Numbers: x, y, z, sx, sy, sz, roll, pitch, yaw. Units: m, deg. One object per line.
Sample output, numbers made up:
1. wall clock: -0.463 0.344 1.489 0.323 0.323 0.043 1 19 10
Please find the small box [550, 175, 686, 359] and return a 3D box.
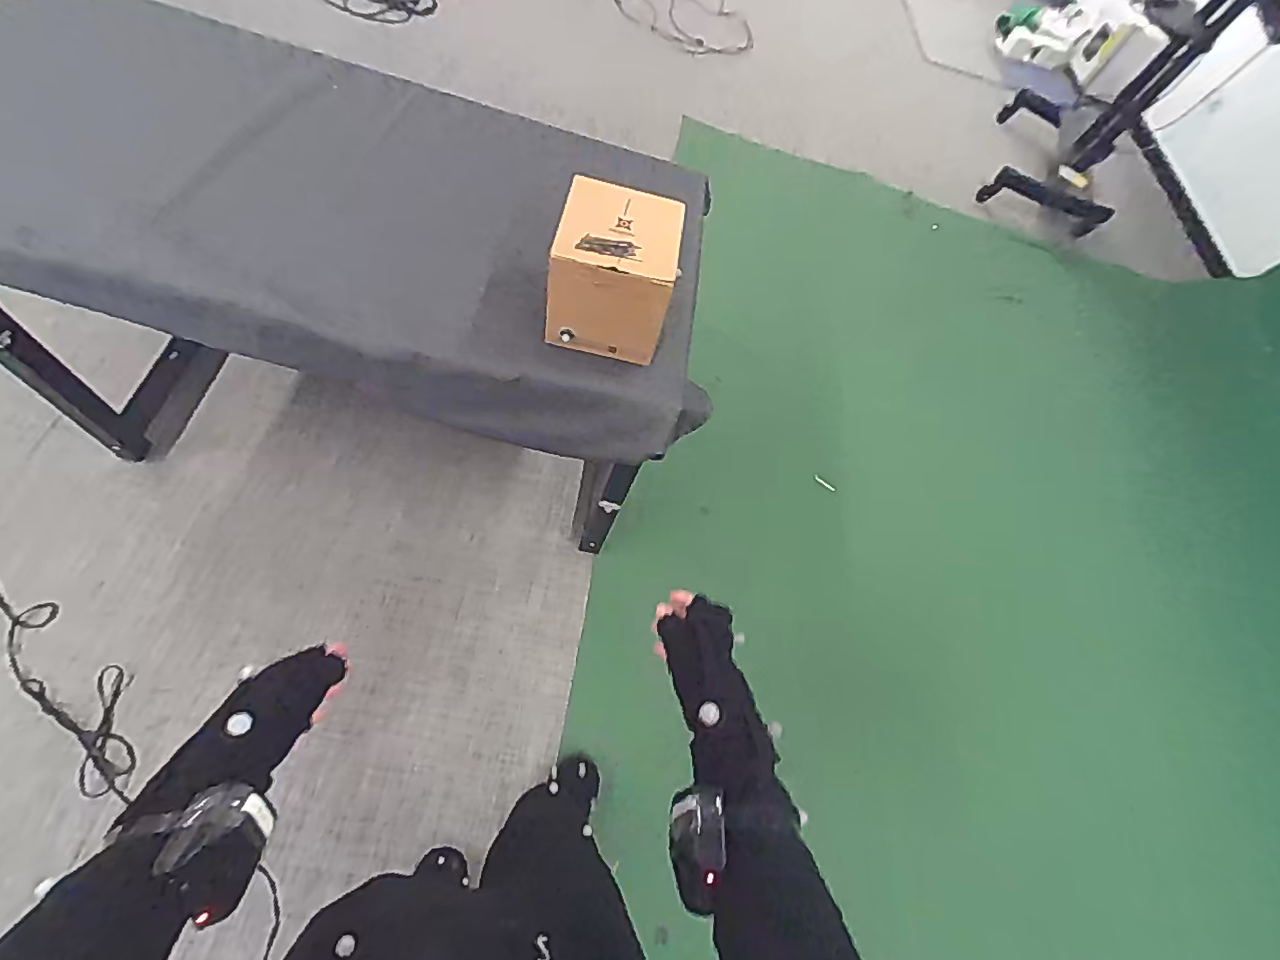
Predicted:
1. small box: -0.038 -0.310 0.810 0.168 0.176 0.179 12 60 -6
